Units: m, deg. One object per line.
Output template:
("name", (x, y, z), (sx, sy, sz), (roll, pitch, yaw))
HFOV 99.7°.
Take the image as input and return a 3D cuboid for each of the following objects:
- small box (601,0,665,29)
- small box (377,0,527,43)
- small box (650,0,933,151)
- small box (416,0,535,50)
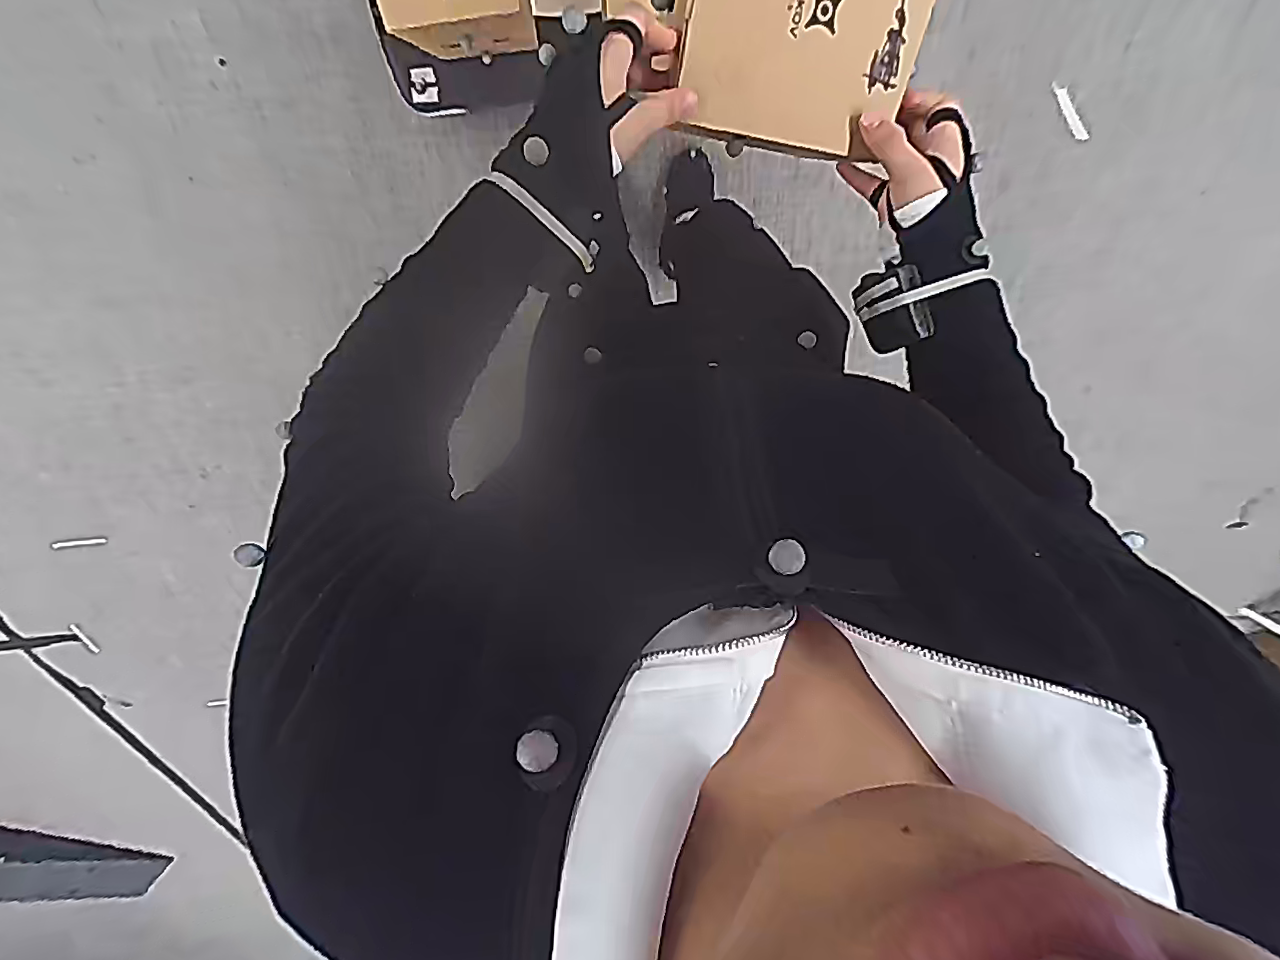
("small box", (0.025, -0.789, 0.806), (0.179, 0.176, 0.168), (-5, 124, -1))
("small box", (-0.240, -0.661, 0.658), (0.168, 0.176, 0.179), (-9, 125, -1))
("small box", (0.111, -0.375, 0.437), (0.179, 0.176, 0.168), (5, 120, -10))
("small box", (-0.254, -0.749, 0.796), (0.168, 0.176, 0.179), (-8, 125, -2))
